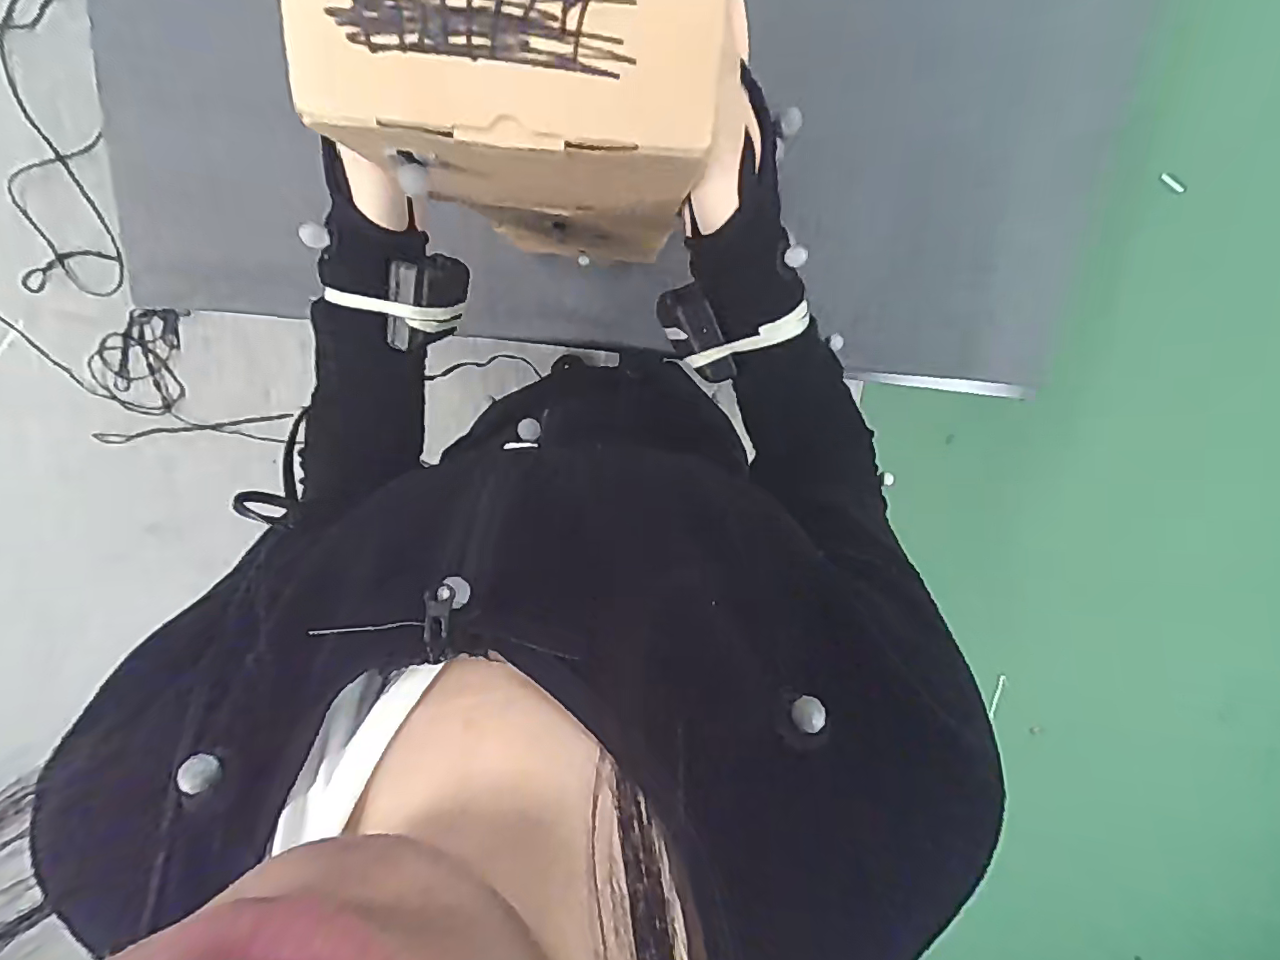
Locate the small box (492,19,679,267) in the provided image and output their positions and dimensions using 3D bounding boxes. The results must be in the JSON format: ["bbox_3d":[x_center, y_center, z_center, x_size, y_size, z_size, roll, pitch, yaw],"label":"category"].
[{"bbox_3d":[-0.057,-0.336,0.577,0.168,0.176,0.179,4,106,-3],"label":"small box"}]
